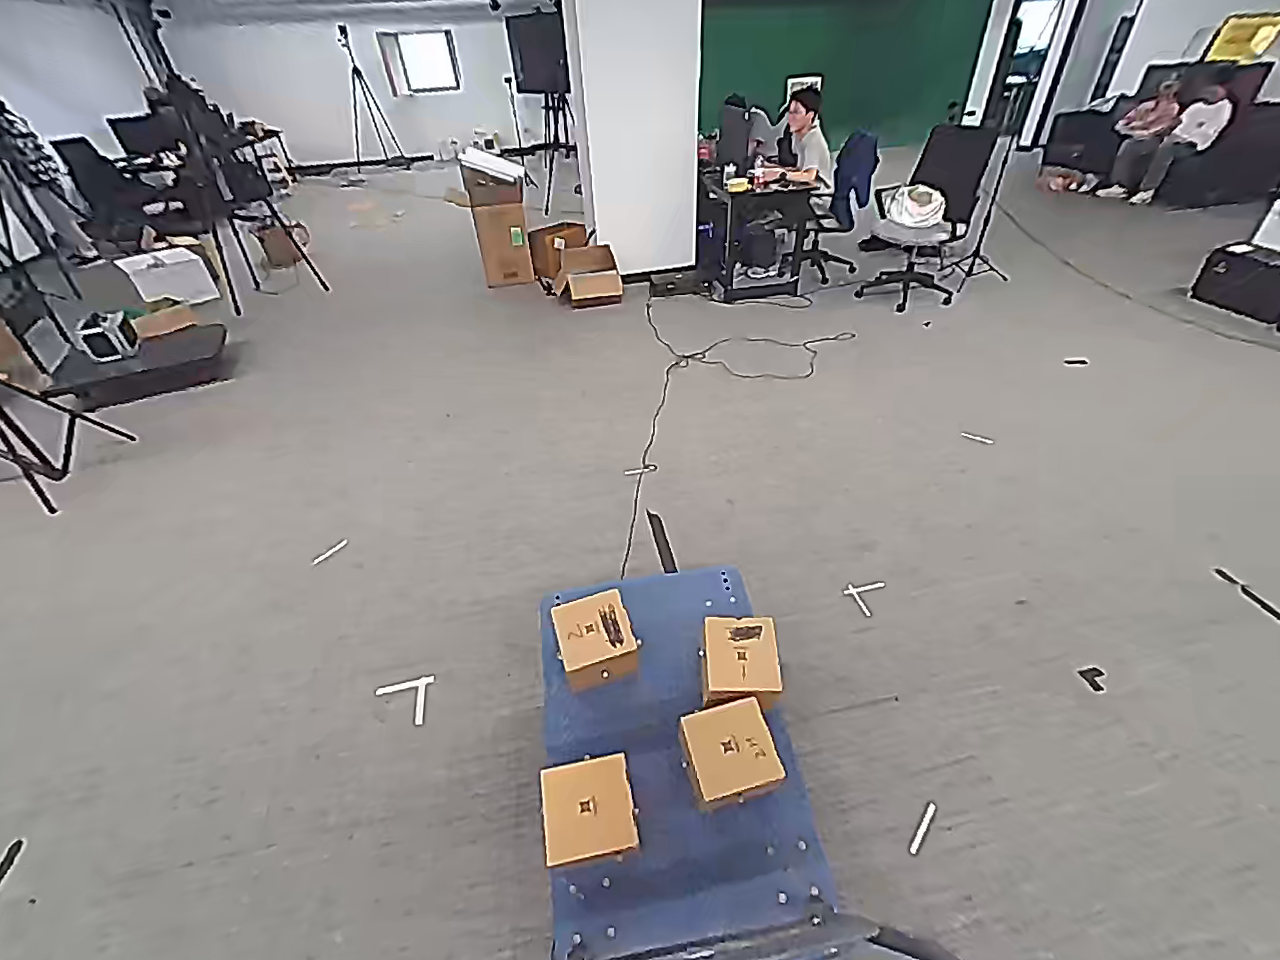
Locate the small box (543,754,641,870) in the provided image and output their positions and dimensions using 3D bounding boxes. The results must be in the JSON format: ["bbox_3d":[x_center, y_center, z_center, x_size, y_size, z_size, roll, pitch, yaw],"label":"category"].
[{"bbox_3d":[-0.098,0.695,1.126,0.179,0.176,0.168,-9,52,-7],"label":"small box"}]

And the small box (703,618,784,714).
[{"bbox_3d":[0.242,0.449,1.306,0.168,0.176,0.179,0,52,2],"label":"small box"}]

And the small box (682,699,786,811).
[{"bbox_3d":[0.196,0.606,1.185,0.179,0.176,0.168,-12,53,-7],"label":"small box"}]
